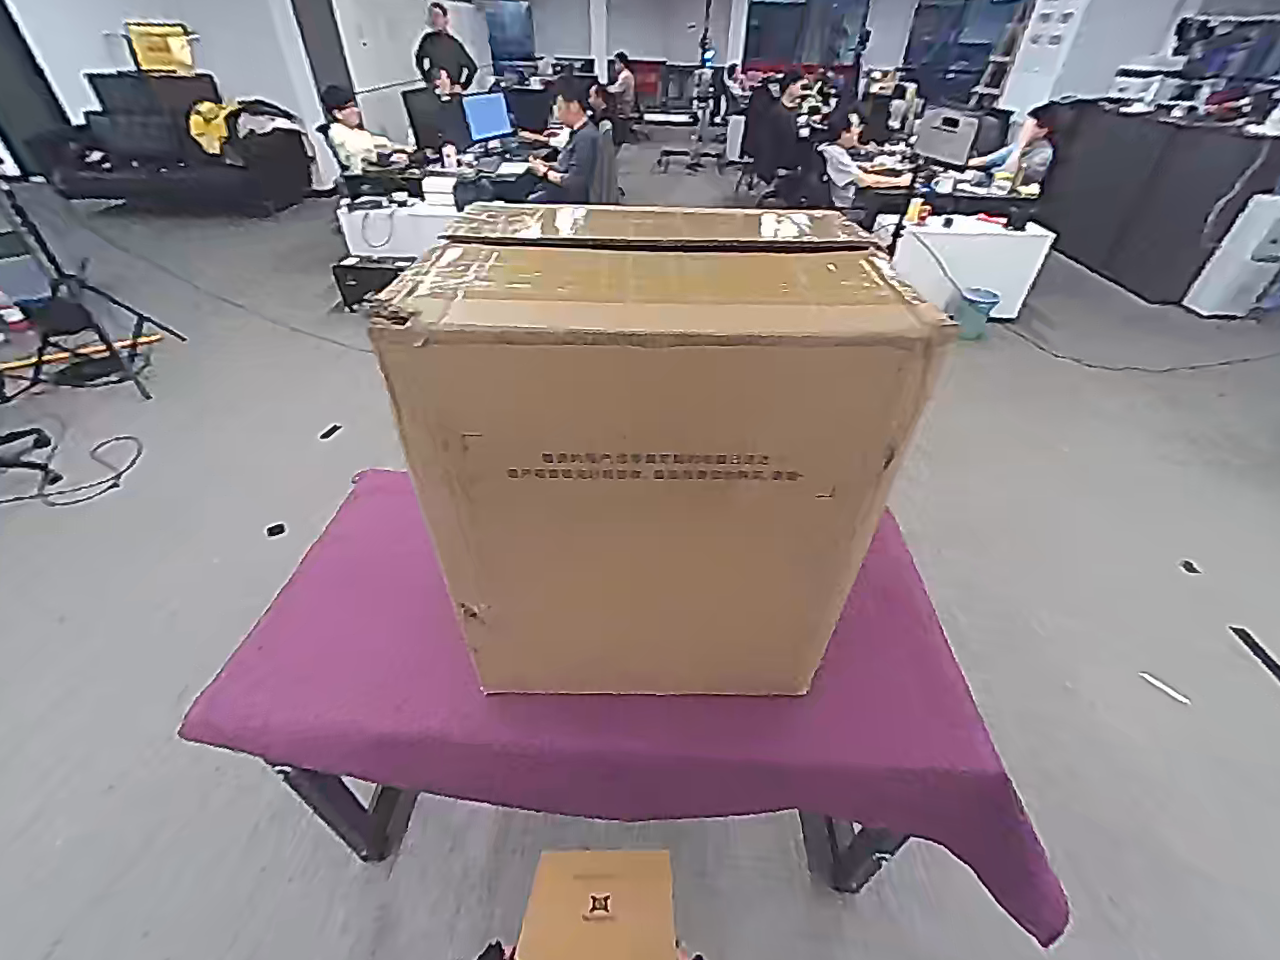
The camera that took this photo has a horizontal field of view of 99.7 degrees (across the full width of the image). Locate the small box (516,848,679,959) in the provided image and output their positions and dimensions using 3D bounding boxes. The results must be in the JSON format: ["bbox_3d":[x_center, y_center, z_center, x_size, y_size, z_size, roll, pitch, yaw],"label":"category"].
[{"bbox_3d":[-0.040,0.549,0.596,0.168,0.176,0.179,0,1,0],"label":"small box"}]
